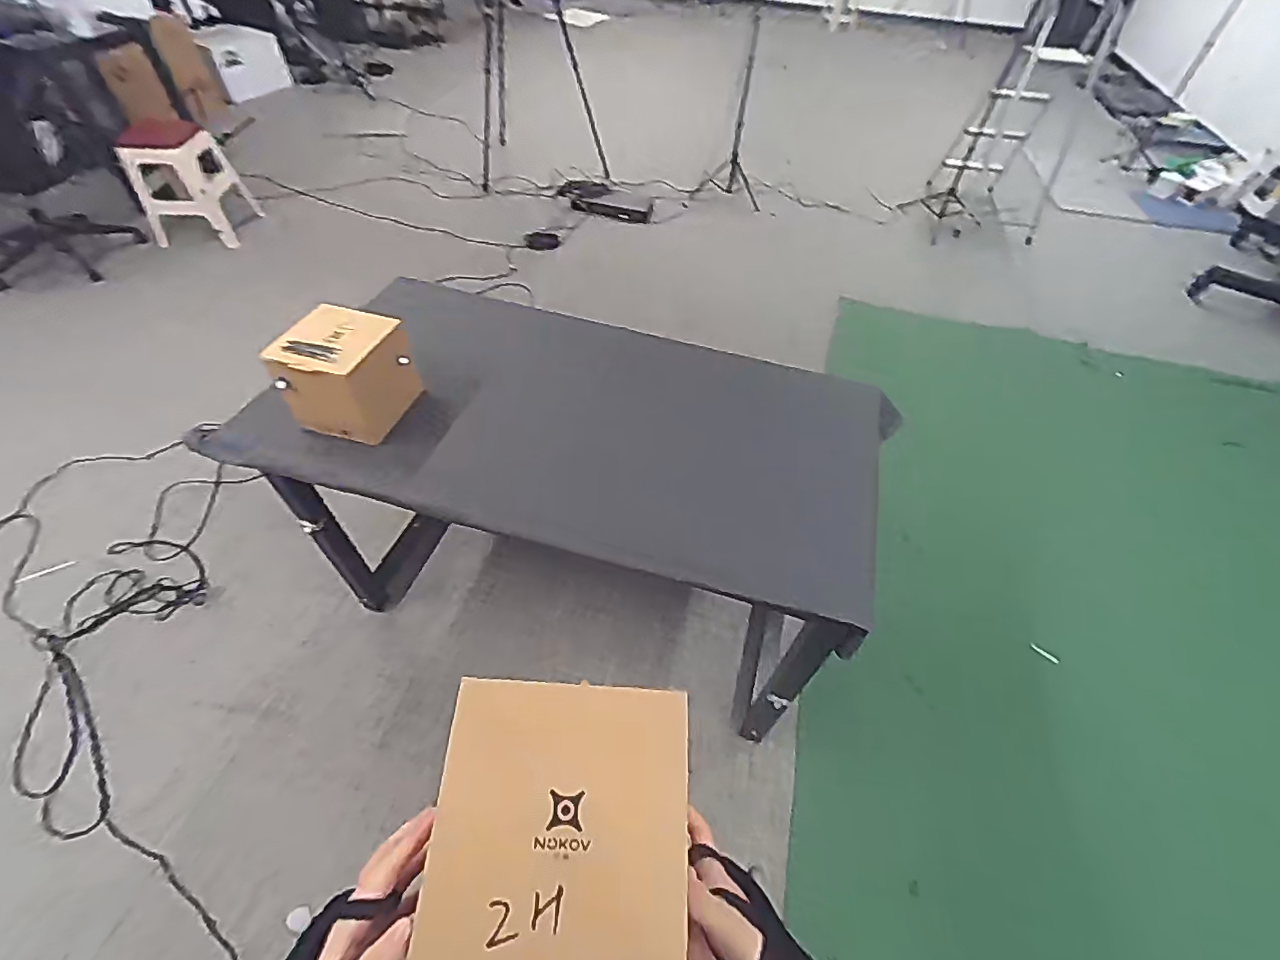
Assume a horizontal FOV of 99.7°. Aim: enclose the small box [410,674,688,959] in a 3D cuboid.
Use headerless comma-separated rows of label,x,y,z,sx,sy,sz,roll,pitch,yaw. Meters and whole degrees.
small box,-0.057,0.264,0.429,0.168,0.176,0.179,5,61,-2
